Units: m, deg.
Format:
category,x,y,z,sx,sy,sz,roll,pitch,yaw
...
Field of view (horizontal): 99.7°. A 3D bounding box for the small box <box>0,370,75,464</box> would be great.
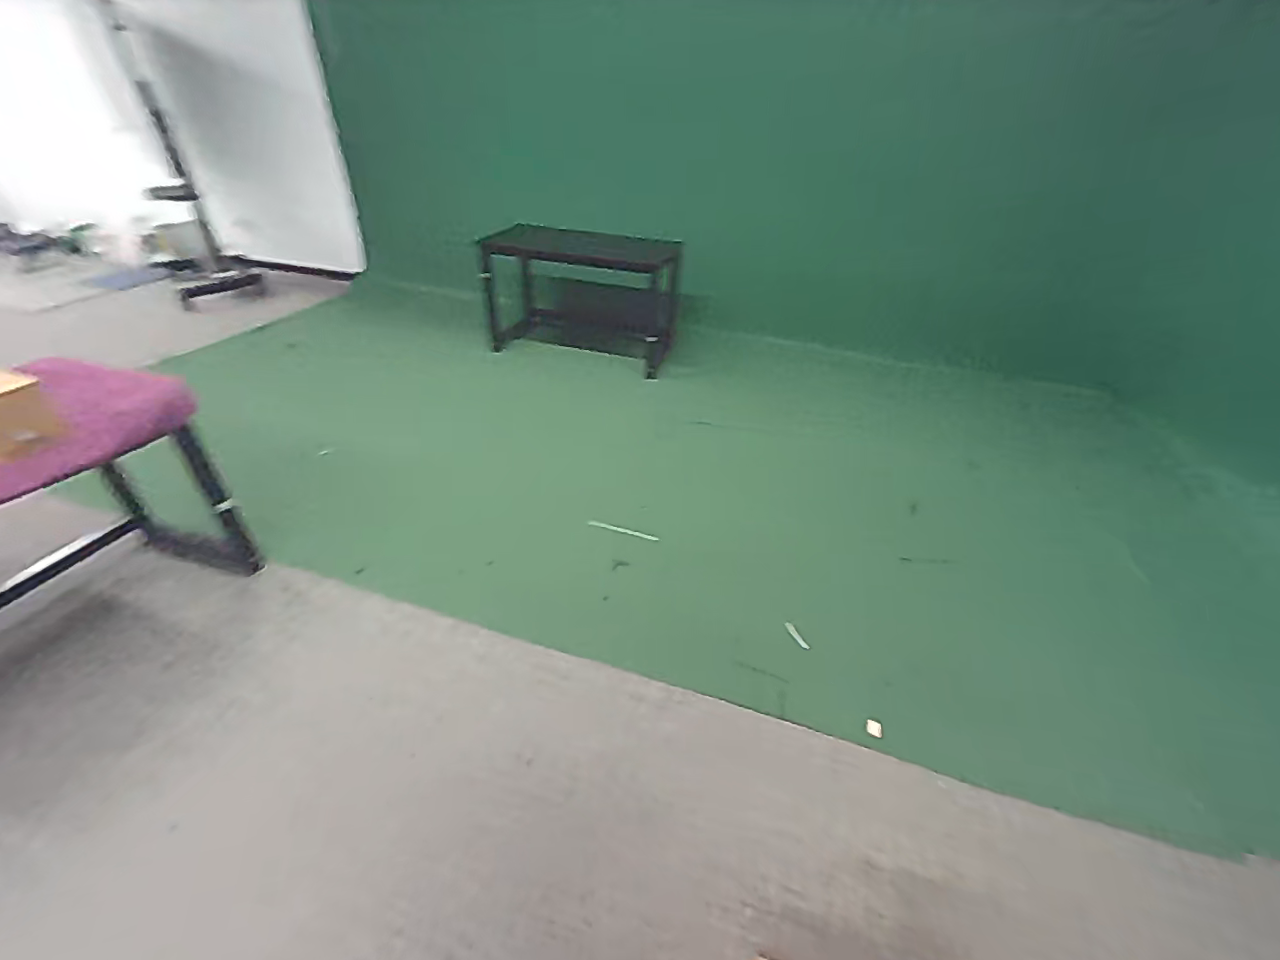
category,x,y,z,sx,sy,sz,roll,pitch,yaw
small box,-1.614,-0.158,1.365,0.179,0.176,0.168,13,37,14
